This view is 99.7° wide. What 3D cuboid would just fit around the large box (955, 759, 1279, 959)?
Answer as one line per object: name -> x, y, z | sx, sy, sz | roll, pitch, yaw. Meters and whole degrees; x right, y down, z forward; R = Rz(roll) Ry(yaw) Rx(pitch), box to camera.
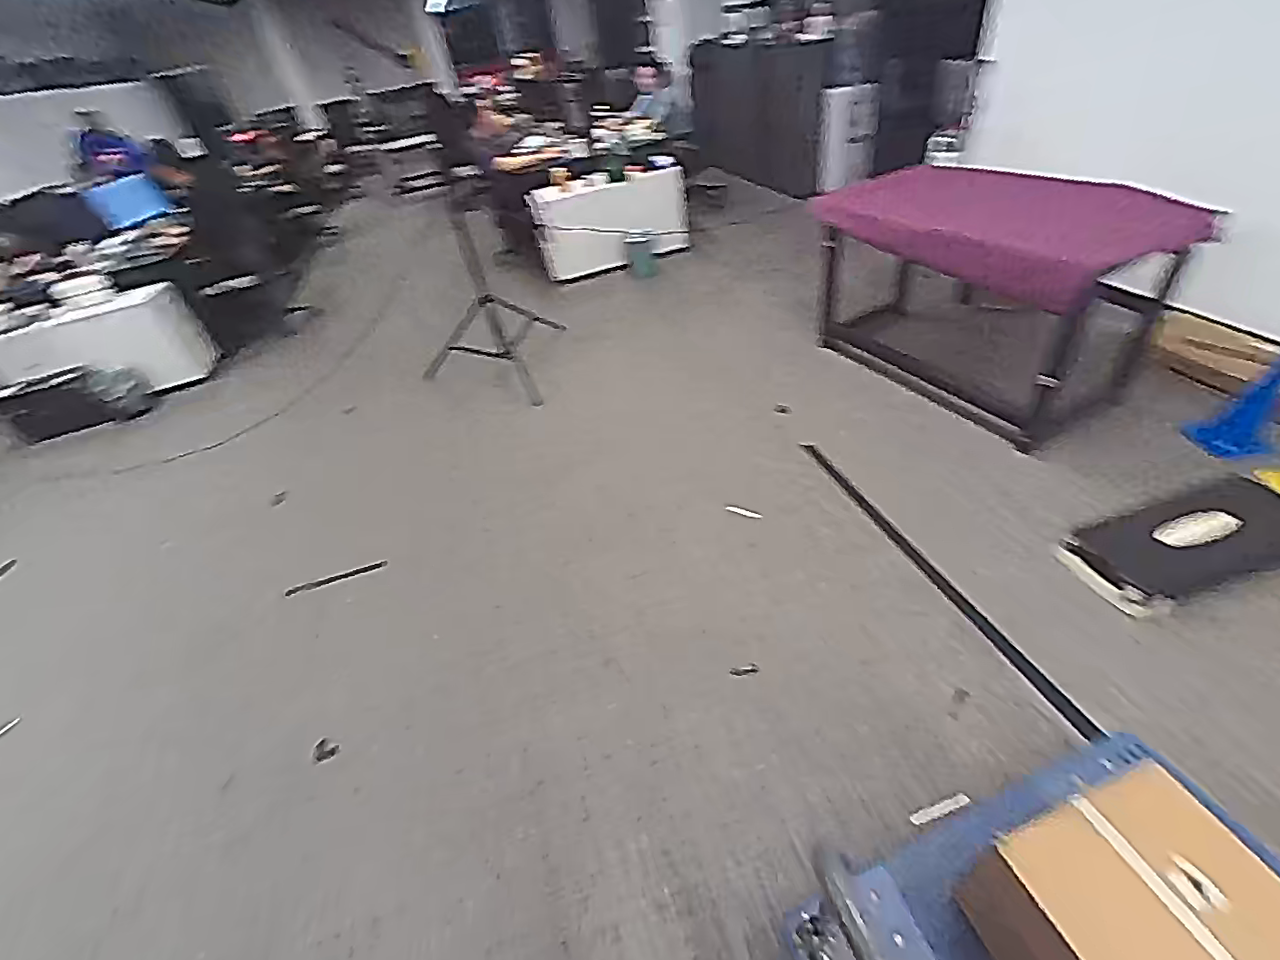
large box -> 0.760, 0.717, 0.783 | 0.320, 0.320, 0.408 | -19, 40, -9
